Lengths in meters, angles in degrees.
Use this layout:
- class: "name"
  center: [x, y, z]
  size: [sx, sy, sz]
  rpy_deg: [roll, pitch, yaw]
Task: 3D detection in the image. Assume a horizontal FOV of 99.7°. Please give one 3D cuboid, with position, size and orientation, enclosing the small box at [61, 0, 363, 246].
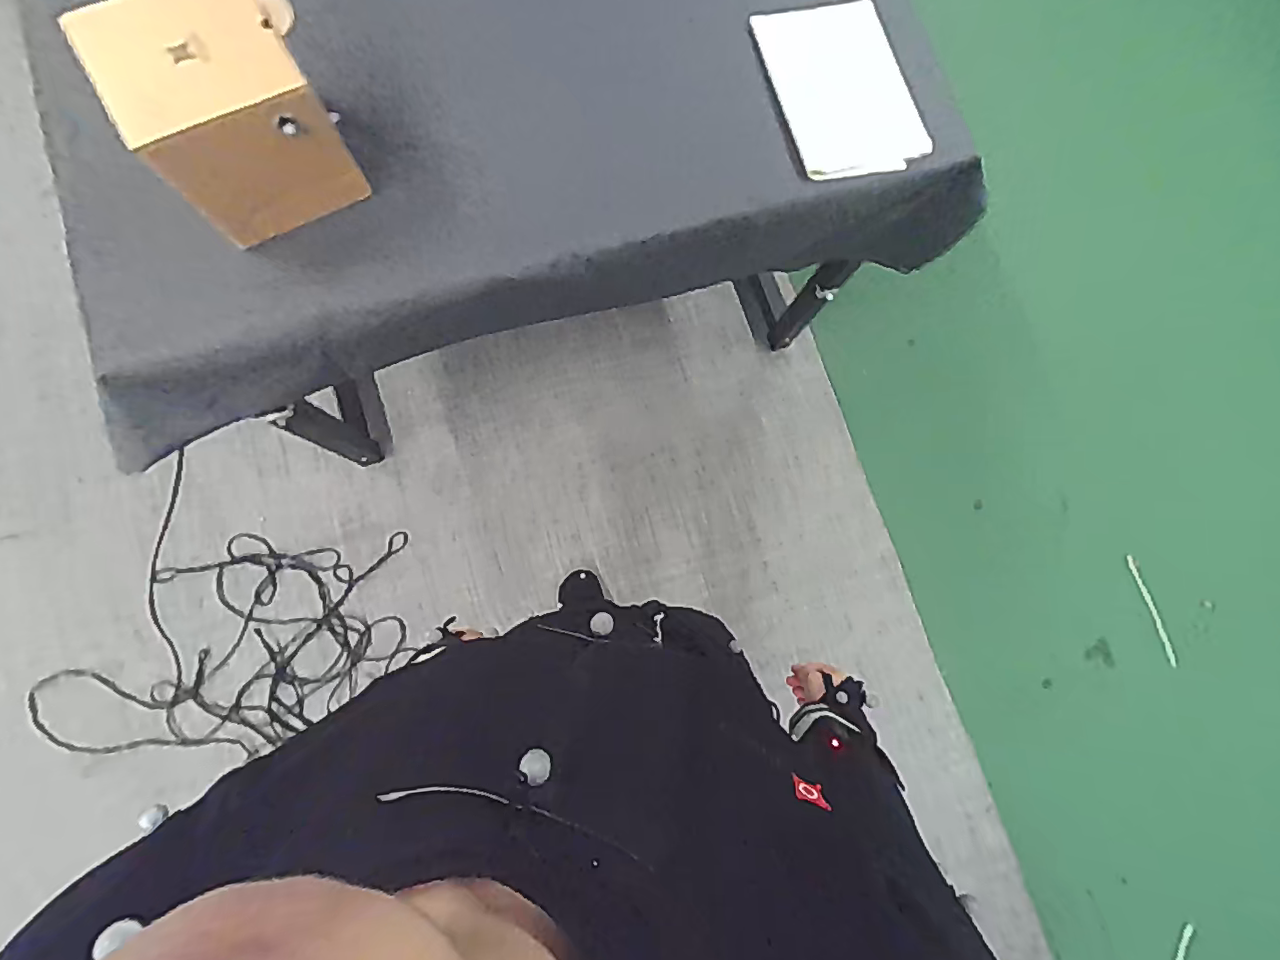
- class: "small box"
  center: [-0.455, -0.401, 0.607]
  size: [0.179, 0.176, 0.168]
  rpy_deg: [-31, 84, -11]
